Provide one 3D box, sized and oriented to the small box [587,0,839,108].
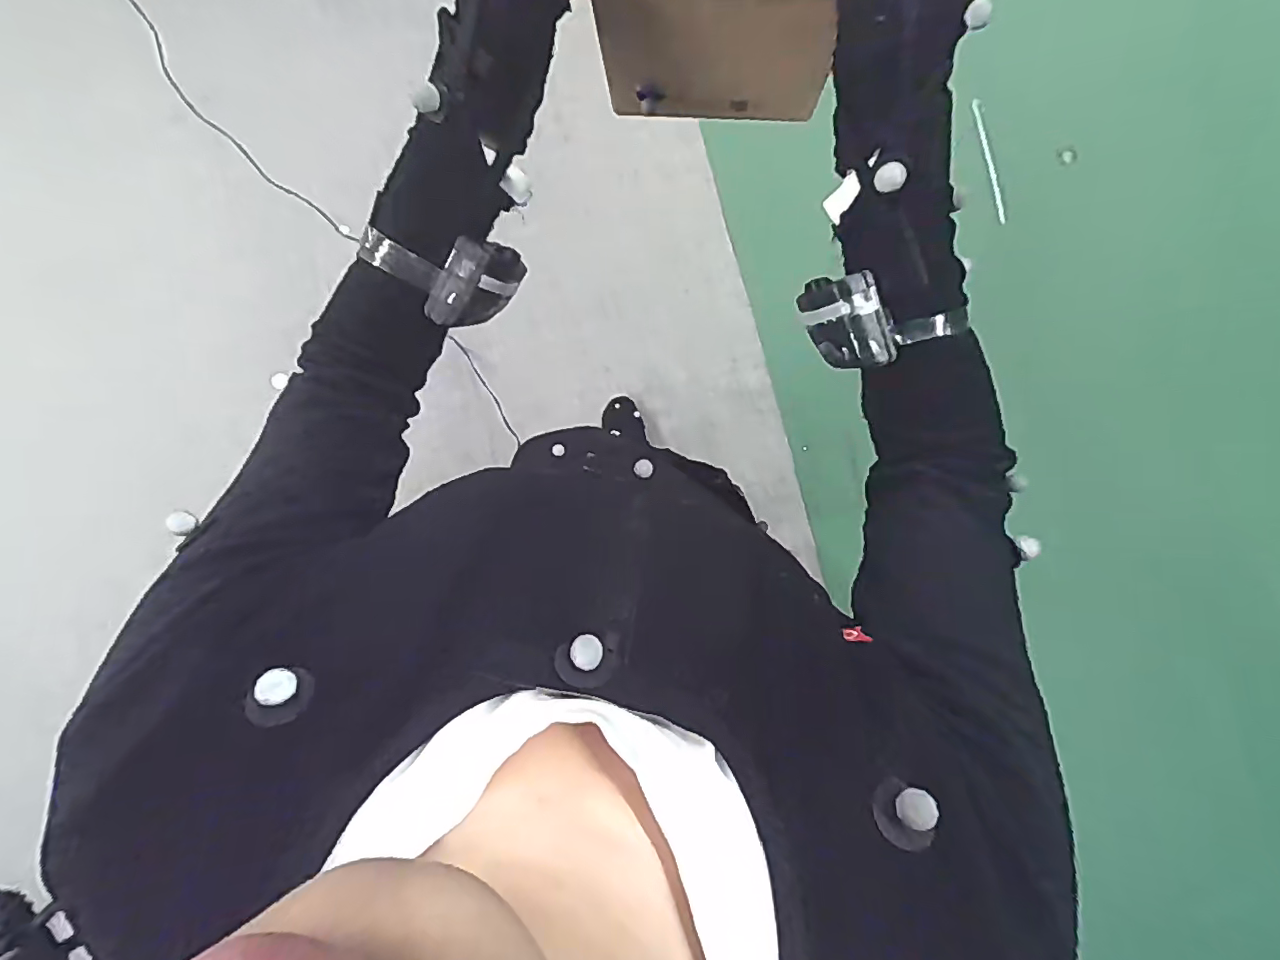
[{"bbox_3d":[0.054,-0.385,0.361,0.168,0.176,0.179,4,94,4],"label":"small box"}]
